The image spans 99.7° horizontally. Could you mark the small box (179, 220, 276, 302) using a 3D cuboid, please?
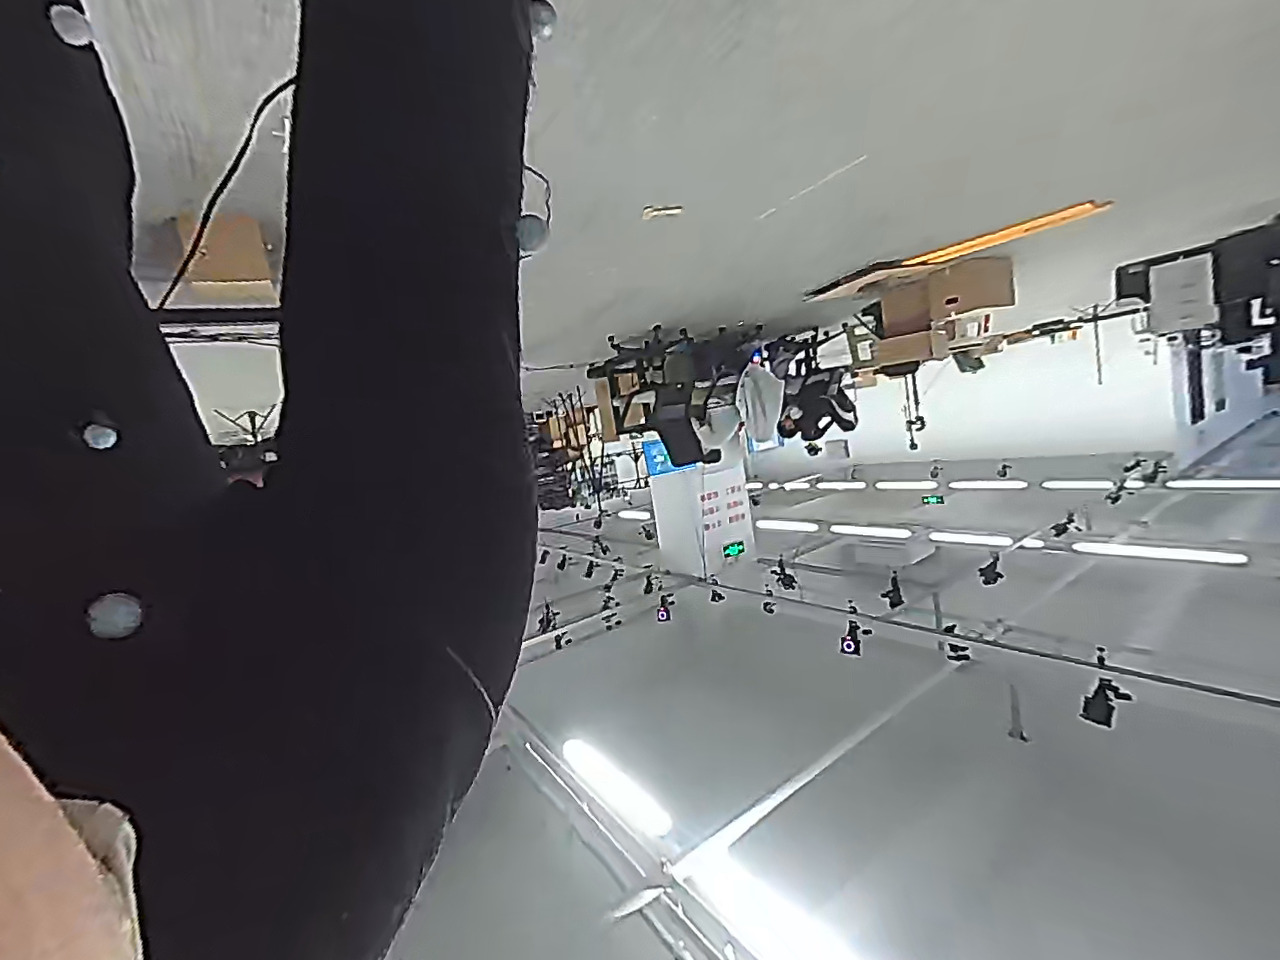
[{"bbox_3d":[-1.134,-0.602,1.490,0.179,0.176,0.168,-13,-173,-27],"label":"small box"}]
